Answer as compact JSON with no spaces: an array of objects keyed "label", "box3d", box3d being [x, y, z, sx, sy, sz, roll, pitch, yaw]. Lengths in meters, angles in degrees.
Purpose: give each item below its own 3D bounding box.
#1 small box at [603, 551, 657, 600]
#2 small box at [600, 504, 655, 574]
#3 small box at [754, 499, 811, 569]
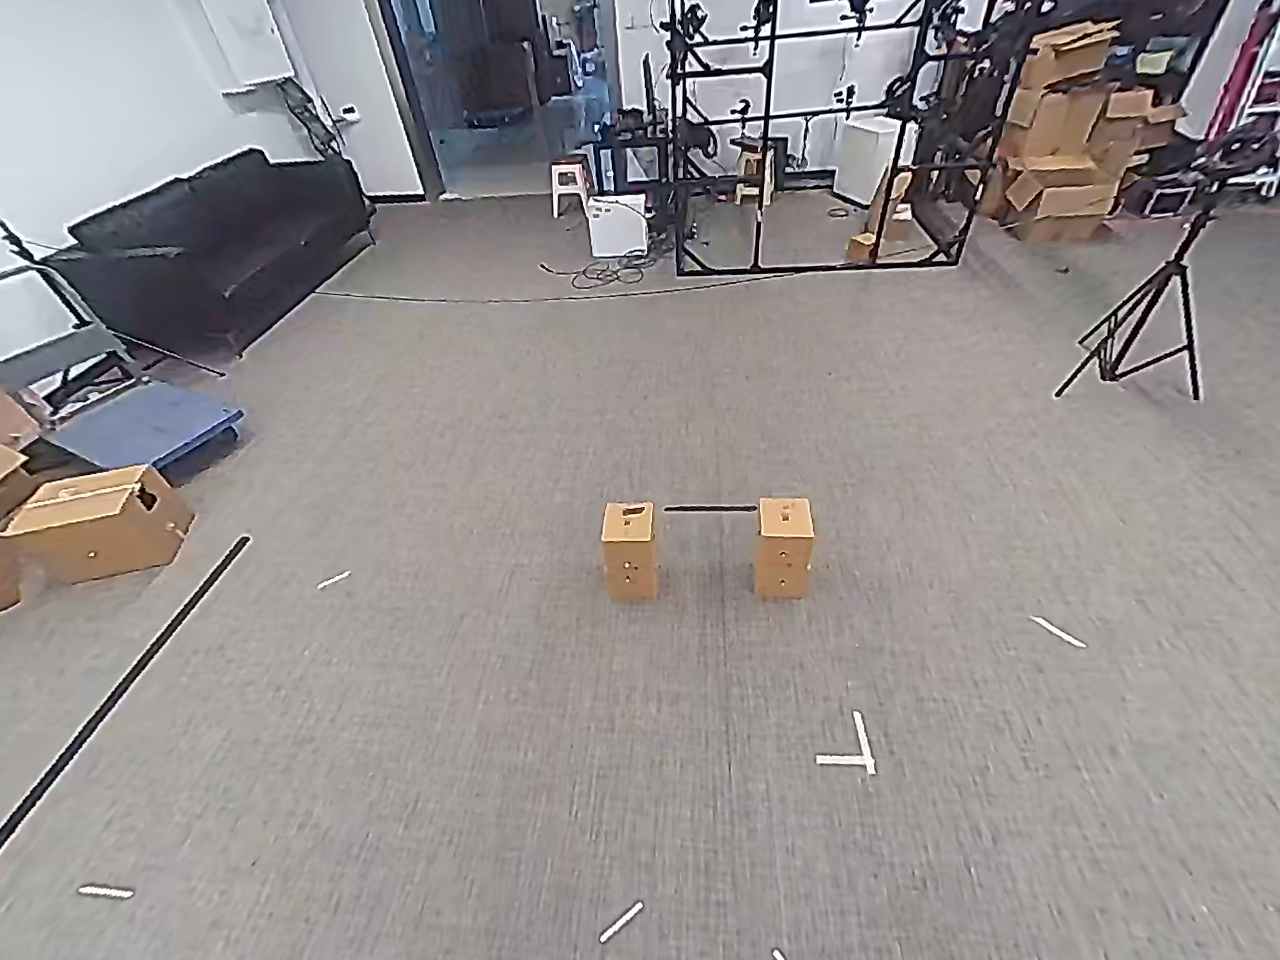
[{"label":"small box","box3d":[-0.031,0.325,1.982,0.179,0.176,0.168,-1,43,6]},{"label":"small box","box3d":[-0.038,0.203,1.873,0.168,0.176,0.179,-1,44,6]},{"label":"small box","box3d":[0.479,0.186,1.833,0.168,0.176,0.179,2,43,7]}]
